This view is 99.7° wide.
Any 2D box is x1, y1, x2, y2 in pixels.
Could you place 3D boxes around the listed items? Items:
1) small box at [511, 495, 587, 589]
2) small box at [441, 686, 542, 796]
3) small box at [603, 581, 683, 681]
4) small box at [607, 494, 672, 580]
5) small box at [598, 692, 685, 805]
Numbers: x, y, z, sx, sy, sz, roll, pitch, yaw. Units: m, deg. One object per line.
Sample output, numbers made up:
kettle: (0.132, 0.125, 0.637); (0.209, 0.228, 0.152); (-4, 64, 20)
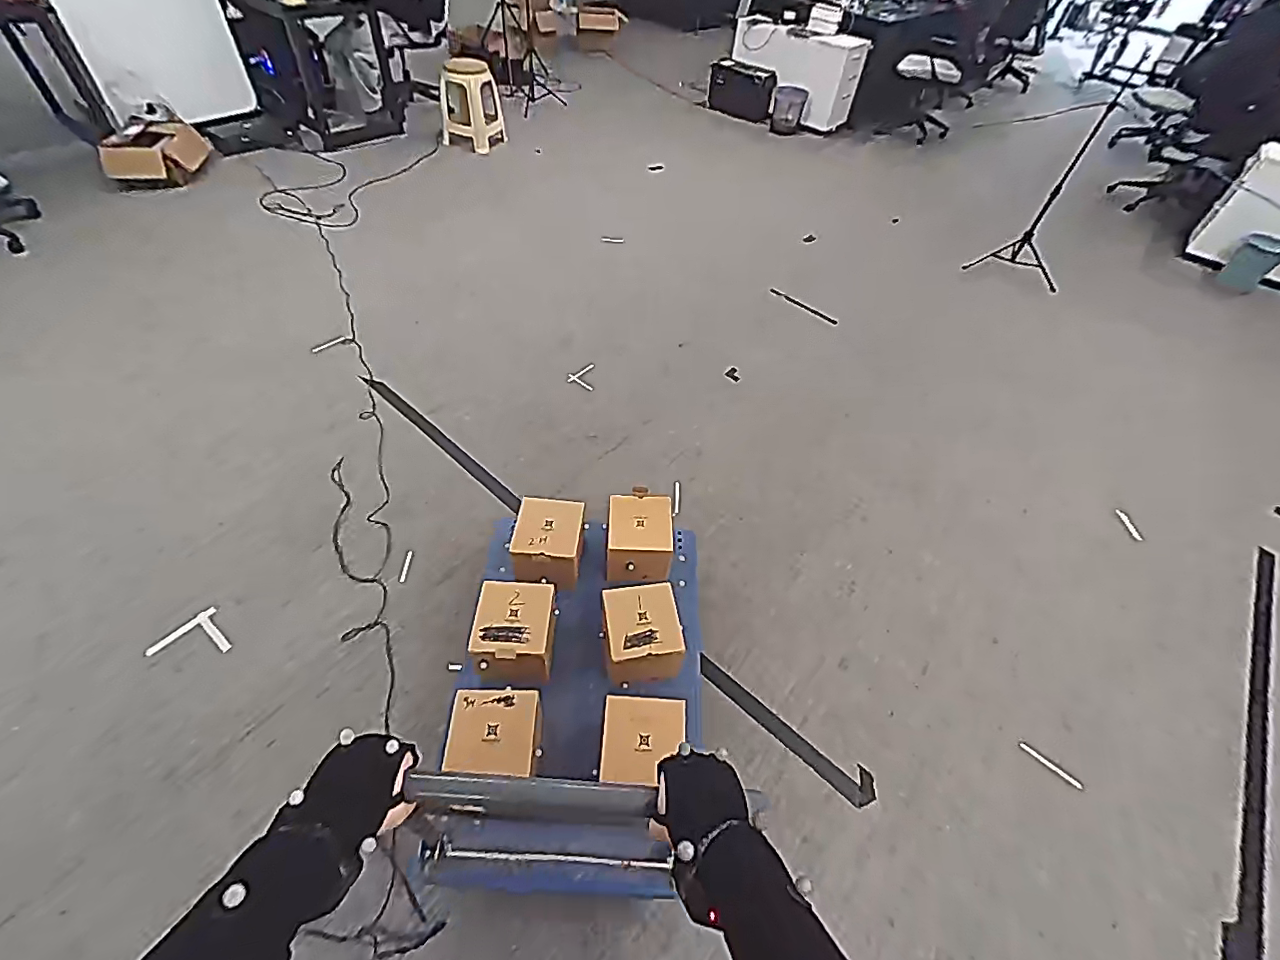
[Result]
small box: (-0.237, 0.166, 1.440); (0.168, 0.176, 0.179); (6, 50, 0)
small box: (-0.295, 0.542, 1.116); (0.168, 0.176, 0.179); (3, 50, -4)
small box: (0.001, 0.366, 1.295); (0.168, 0.176, 0.179); (-4, 50, -9)
small box: (-0.004, 0.158, 1.471); (0.168, 0.176, 0.179); (2, 50, -3)
small box: (0.003, 0.564, 1.129); (0.168, 0.176, 0.179); (5, 49, -2)
